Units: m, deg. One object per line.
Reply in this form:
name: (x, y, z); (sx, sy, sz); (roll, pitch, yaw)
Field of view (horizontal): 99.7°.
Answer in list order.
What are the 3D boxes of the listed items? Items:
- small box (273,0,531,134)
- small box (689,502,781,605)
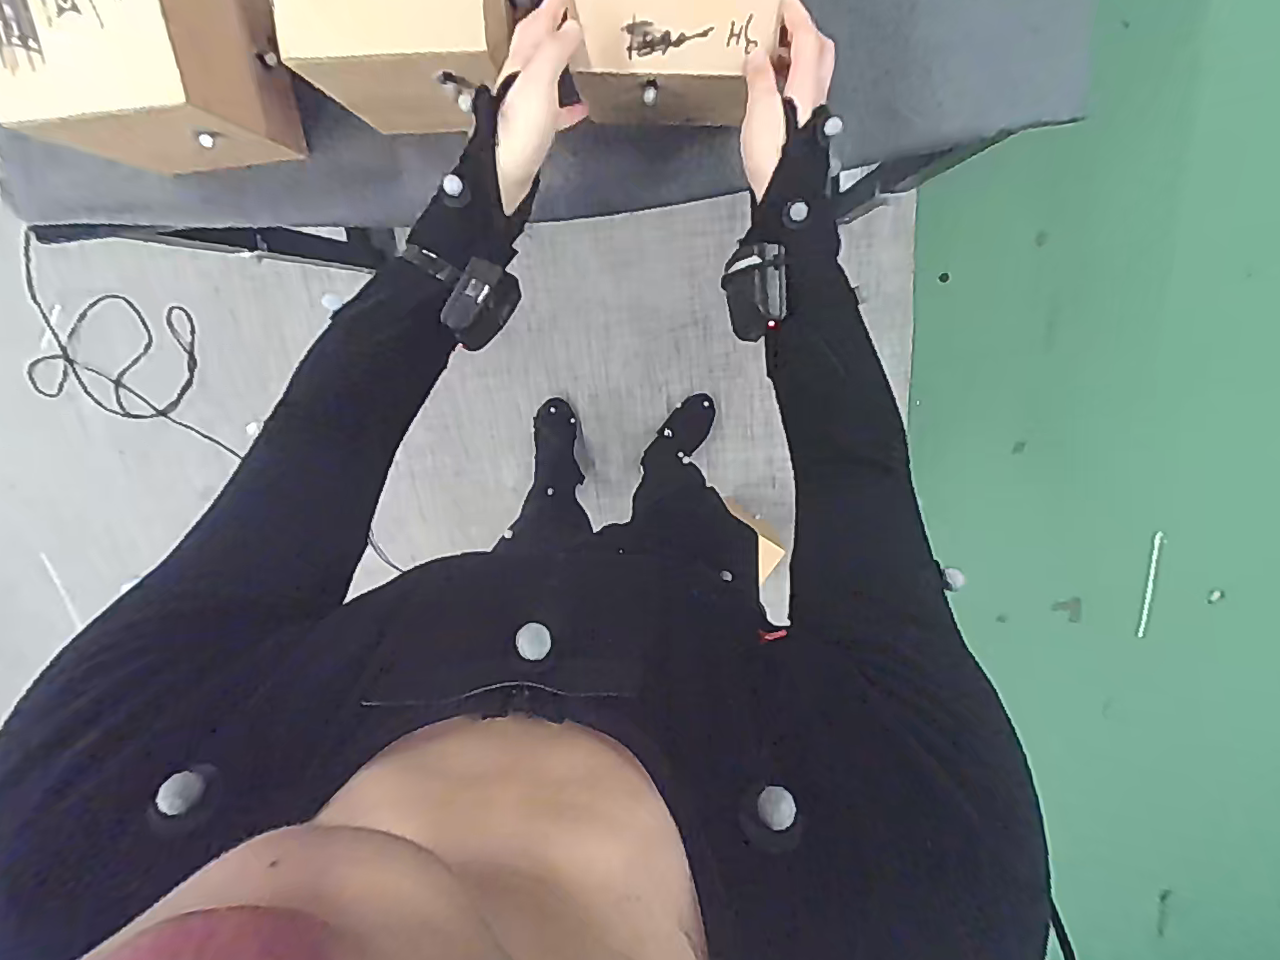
small box: (-0.203, -0.439, 0.495); (0.179, 0.176, 0.168); (1, 105, 4)
small box: (0.242, 0.186, 1.420); (0.168, 0.176, 0.179); (33, 105, -7)
